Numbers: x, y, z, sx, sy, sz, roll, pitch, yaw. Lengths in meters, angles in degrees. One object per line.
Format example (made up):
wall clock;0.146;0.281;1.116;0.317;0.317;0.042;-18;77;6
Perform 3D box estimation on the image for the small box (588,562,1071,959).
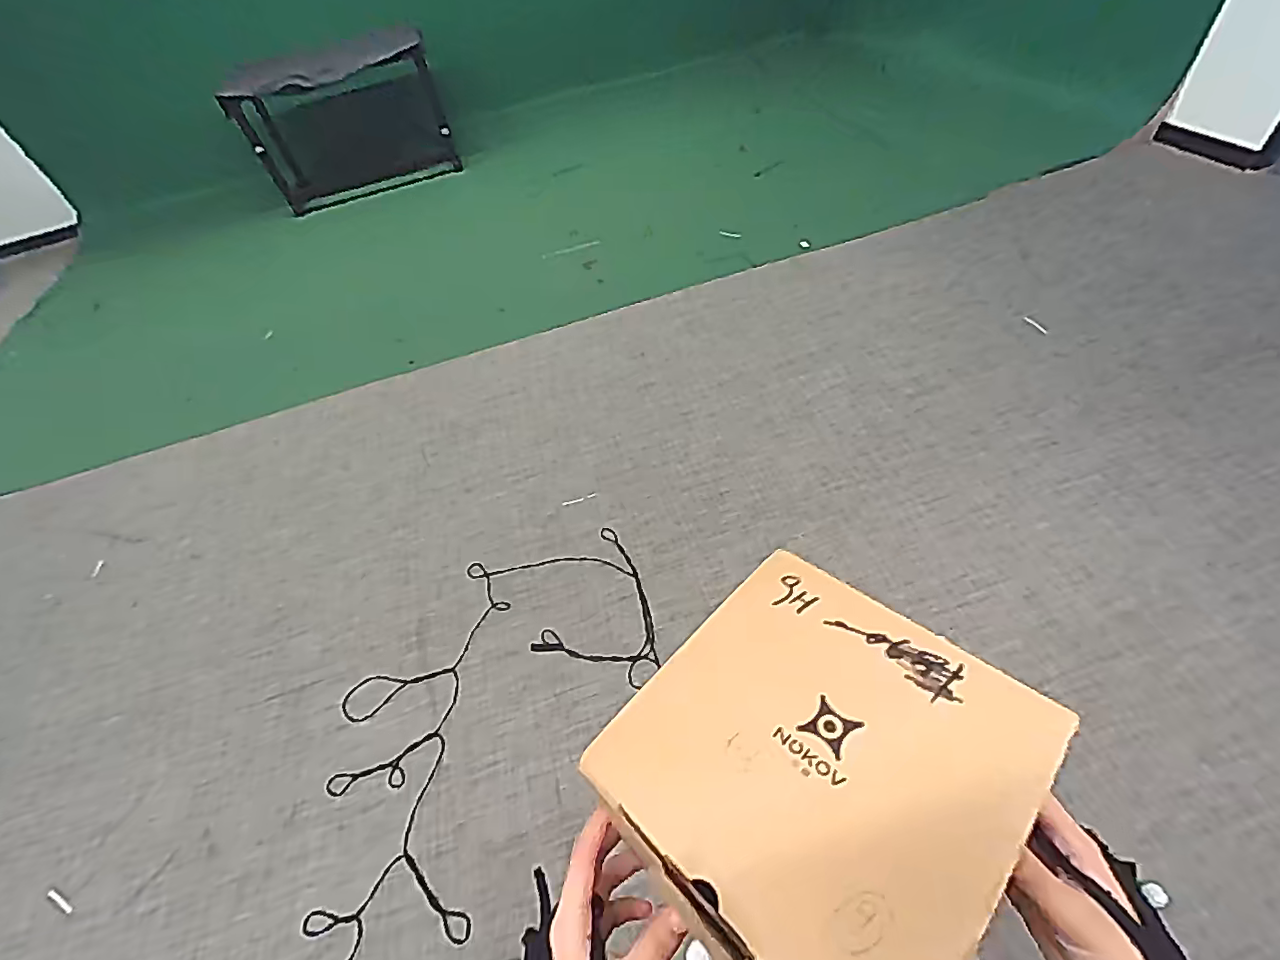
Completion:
small box;0.100;0.191;0.318;0.179;0.176;0.168;-38;49;-26
